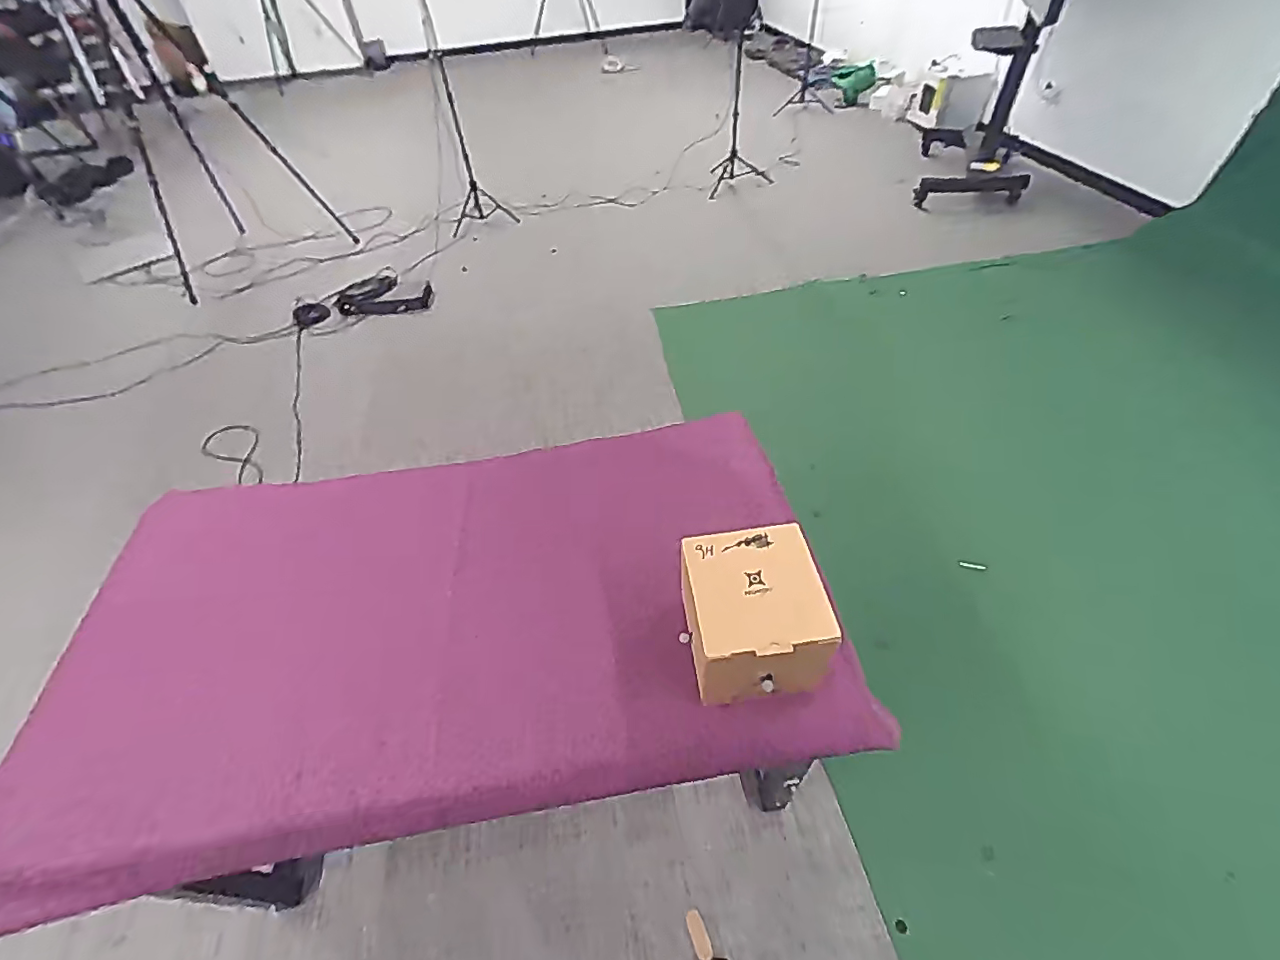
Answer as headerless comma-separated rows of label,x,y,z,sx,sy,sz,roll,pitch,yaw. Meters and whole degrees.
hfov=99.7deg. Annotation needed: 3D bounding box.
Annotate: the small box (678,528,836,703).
small box,0.148,0.192,0.743,0.168,0.176,0.179,-8,50,-1
